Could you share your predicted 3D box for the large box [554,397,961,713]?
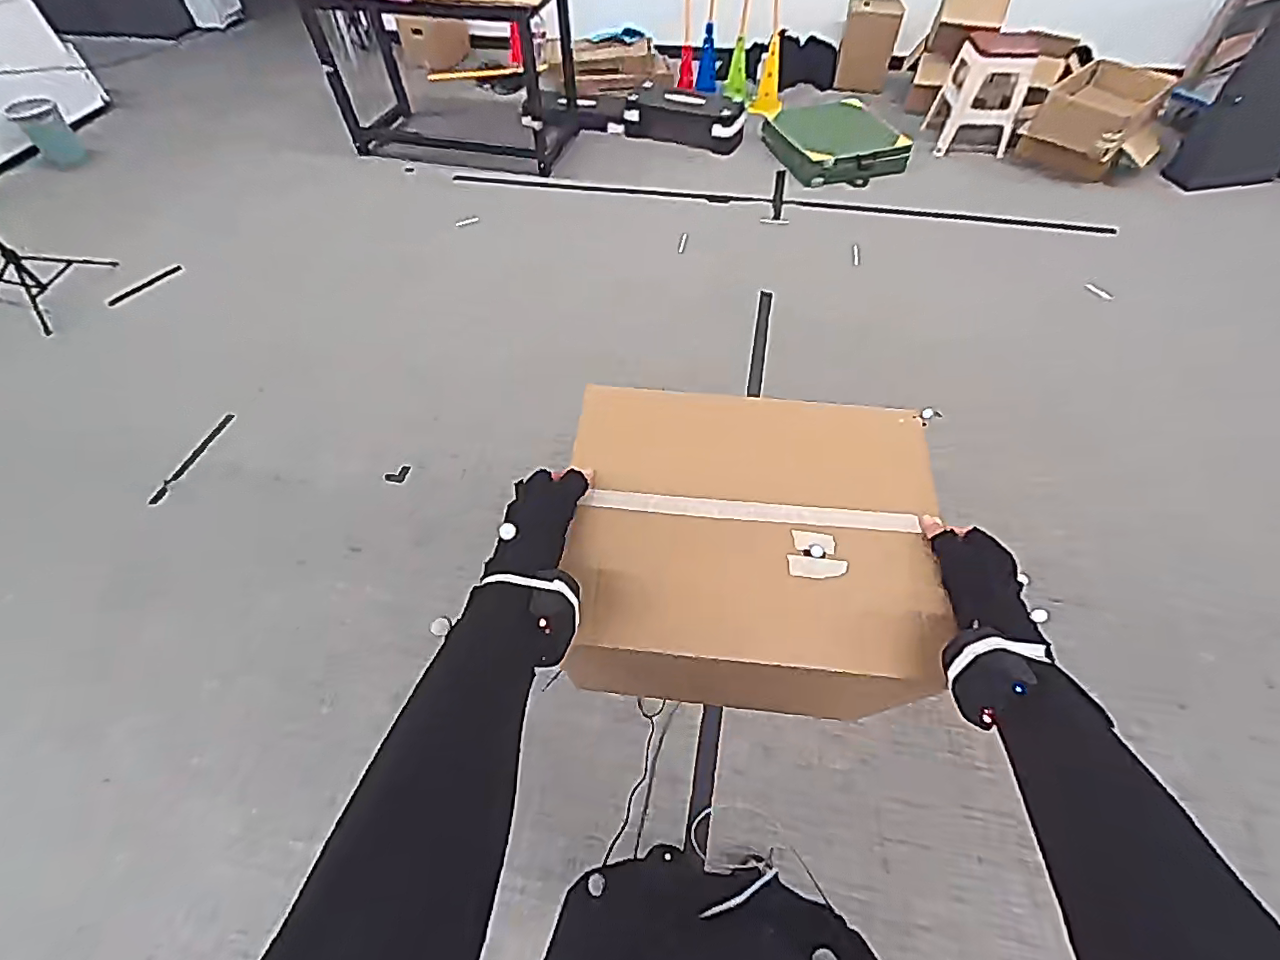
[{"bbox_3d":[0.124,0.114,0.725,0.408,0.320,0.320,5,61,4],"label":"large box"}]
